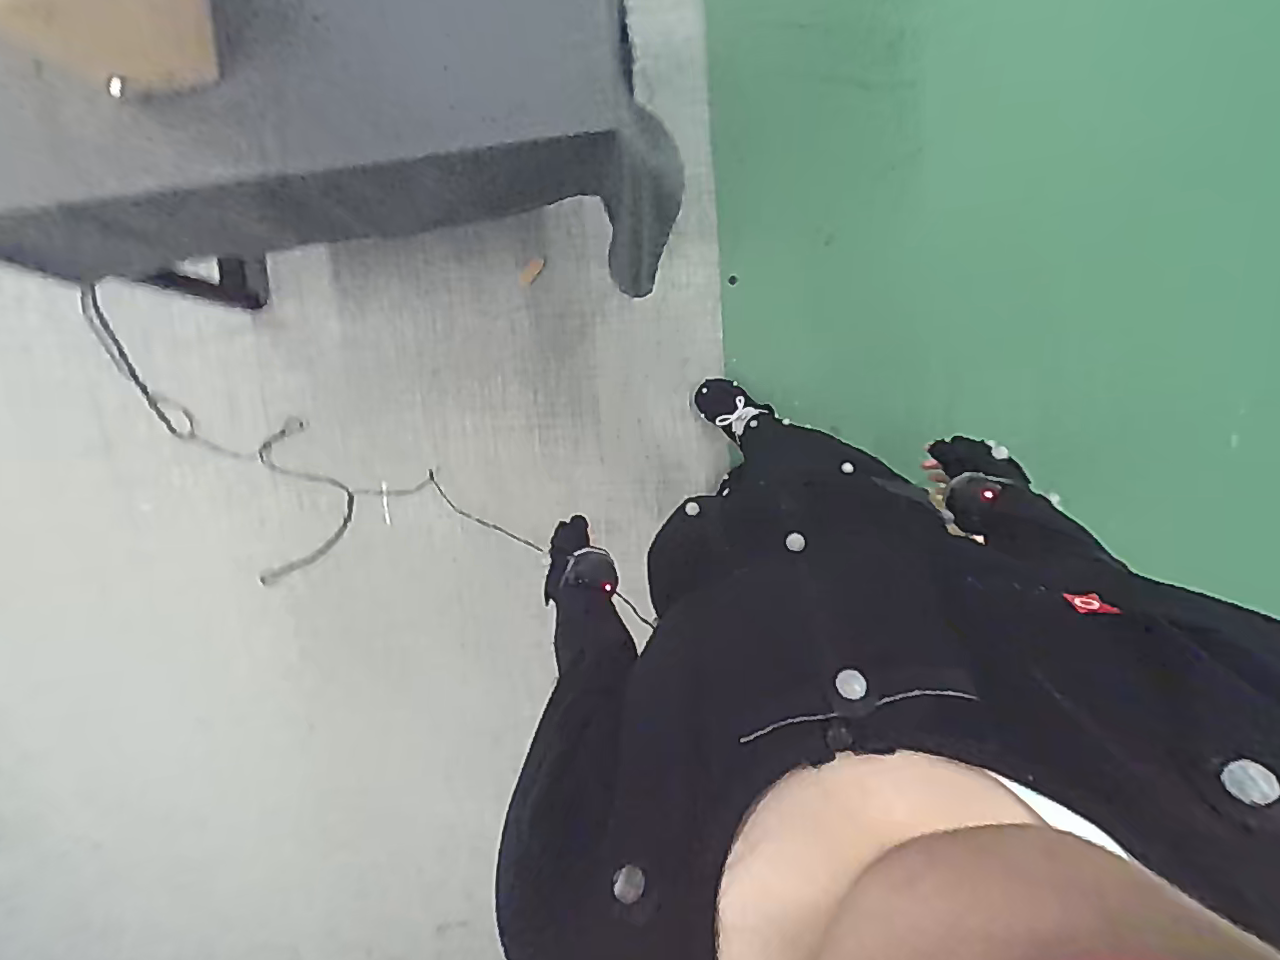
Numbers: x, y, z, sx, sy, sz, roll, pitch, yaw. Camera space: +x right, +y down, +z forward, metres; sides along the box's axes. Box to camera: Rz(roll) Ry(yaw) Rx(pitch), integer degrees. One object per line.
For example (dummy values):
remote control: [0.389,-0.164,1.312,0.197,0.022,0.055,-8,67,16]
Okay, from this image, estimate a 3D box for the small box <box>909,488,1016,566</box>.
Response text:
small box: [0.793,0.111,1.349,0.179,0.176,0.168,2,96,6]
